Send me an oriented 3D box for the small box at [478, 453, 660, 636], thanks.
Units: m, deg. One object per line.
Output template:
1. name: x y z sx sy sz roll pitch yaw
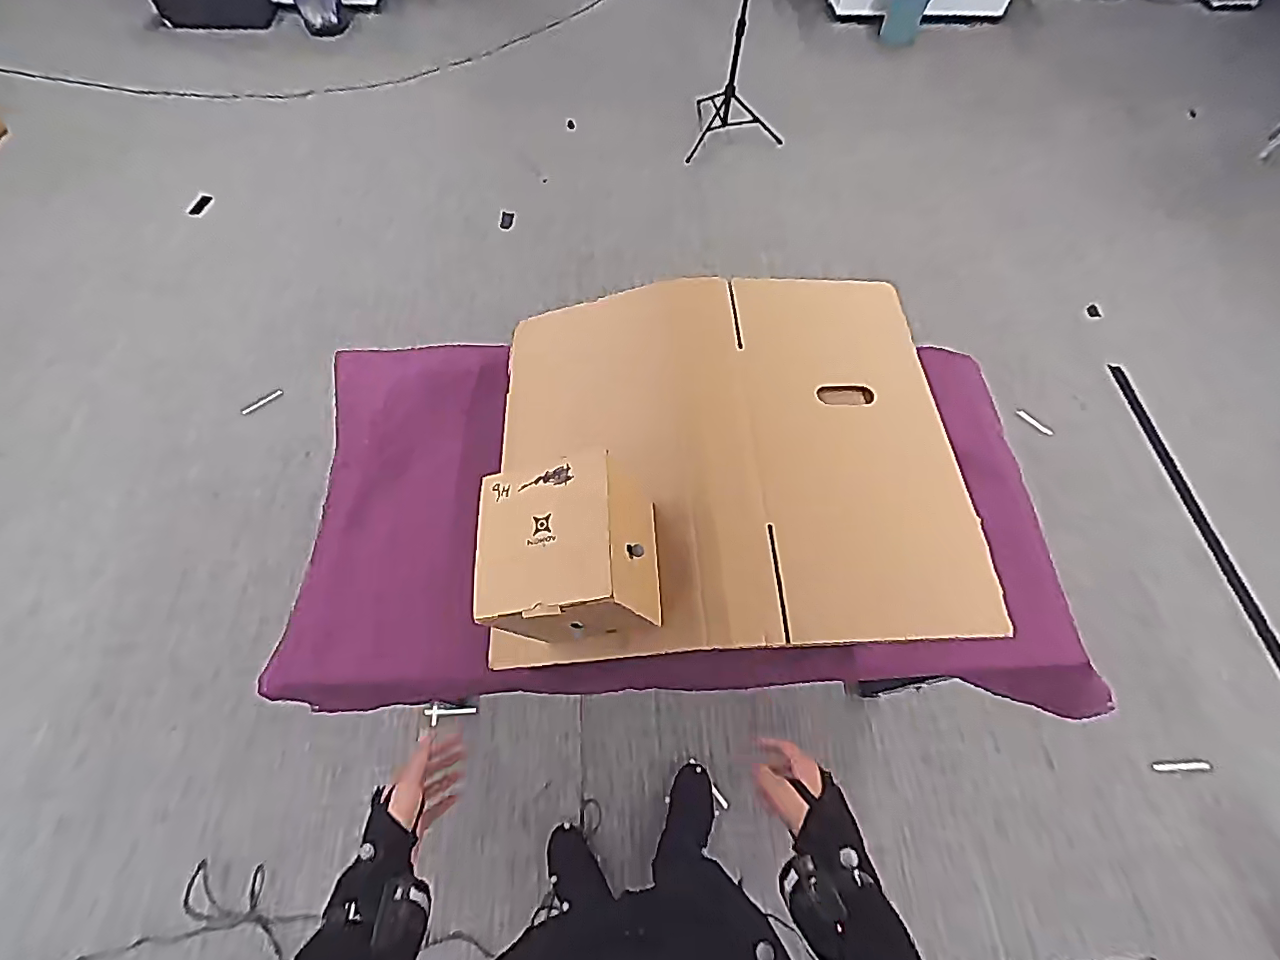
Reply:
1. small box: -0.079 0.092 0.671 0.168 0.176 0.179 -12 63 16
